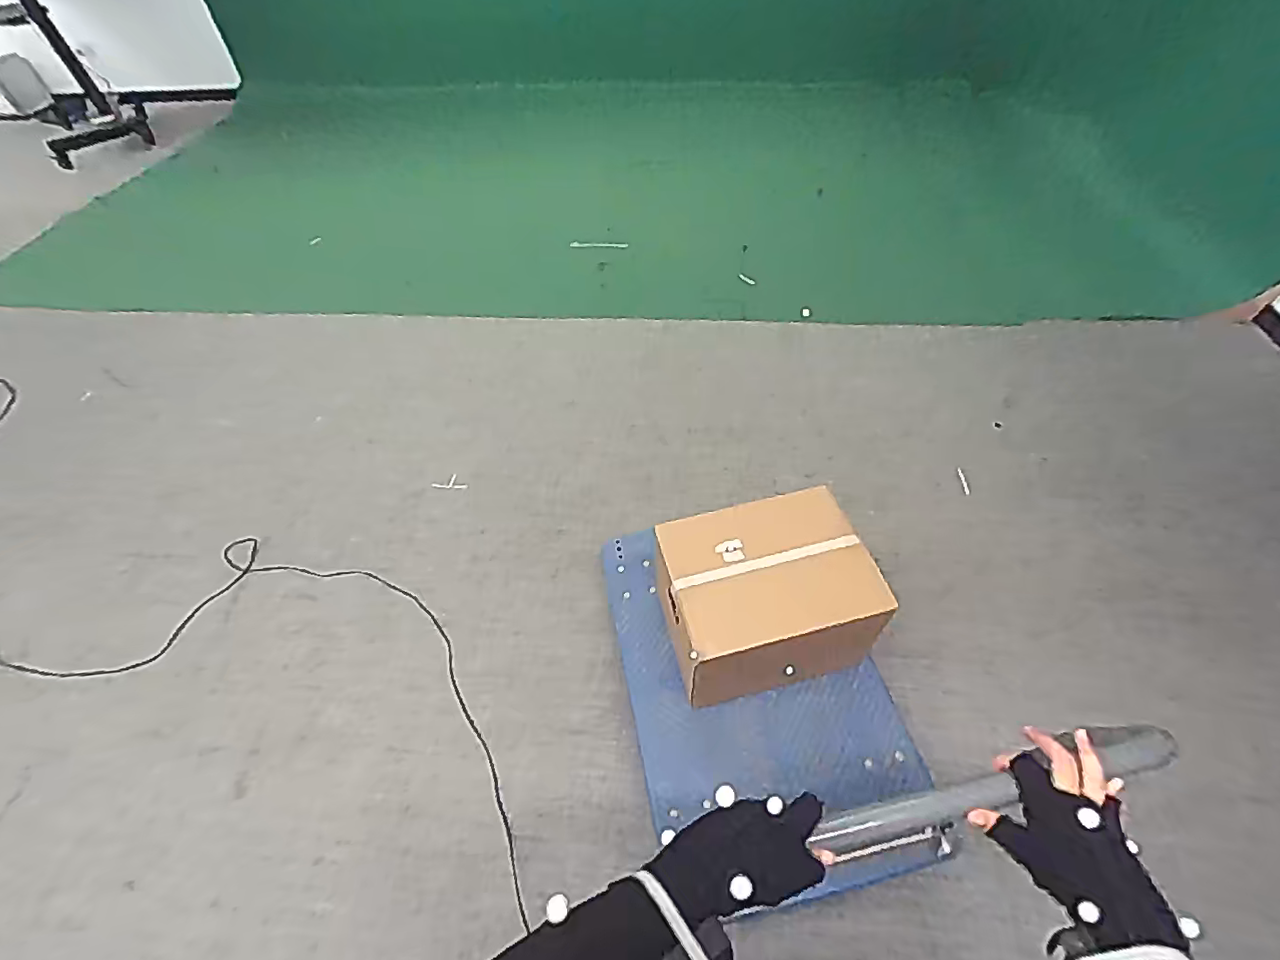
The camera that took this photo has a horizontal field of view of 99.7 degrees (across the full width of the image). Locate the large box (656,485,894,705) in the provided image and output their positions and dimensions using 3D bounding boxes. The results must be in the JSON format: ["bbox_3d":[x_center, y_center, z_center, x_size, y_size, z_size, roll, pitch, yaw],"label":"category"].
[{"bbox_3d":[0.274,0.264,1.227,0.408,0.320,0.320,-14,52,-7],"label":"large box"}]
